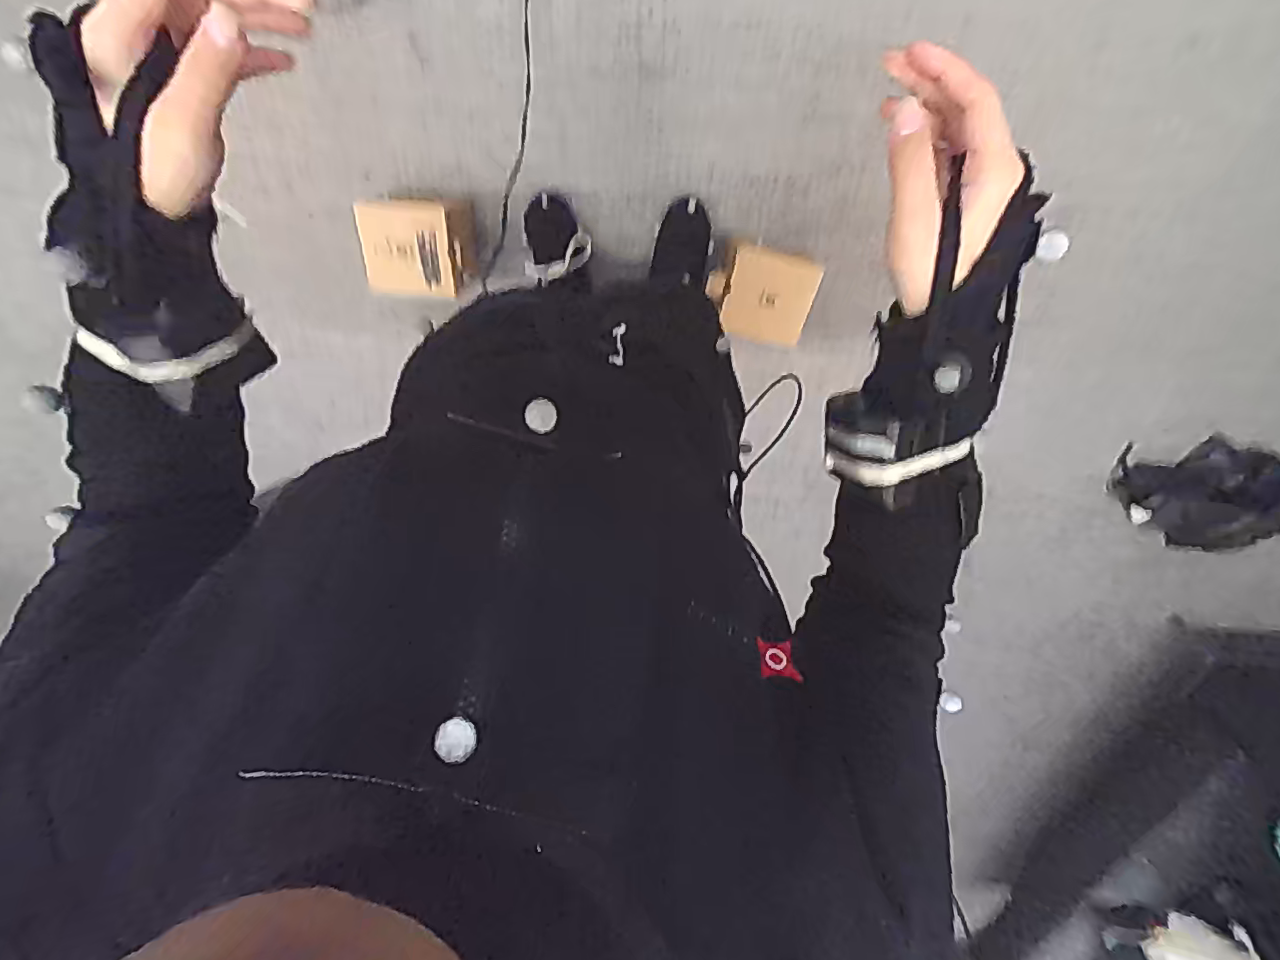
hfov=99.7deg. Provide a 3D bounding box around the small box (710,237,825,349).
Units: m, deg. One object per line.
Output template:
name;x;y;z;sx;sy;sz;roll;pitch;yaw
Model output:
small box;0.258;-0.398;1.138;0.179;0.176;0.168;13;123;-5
